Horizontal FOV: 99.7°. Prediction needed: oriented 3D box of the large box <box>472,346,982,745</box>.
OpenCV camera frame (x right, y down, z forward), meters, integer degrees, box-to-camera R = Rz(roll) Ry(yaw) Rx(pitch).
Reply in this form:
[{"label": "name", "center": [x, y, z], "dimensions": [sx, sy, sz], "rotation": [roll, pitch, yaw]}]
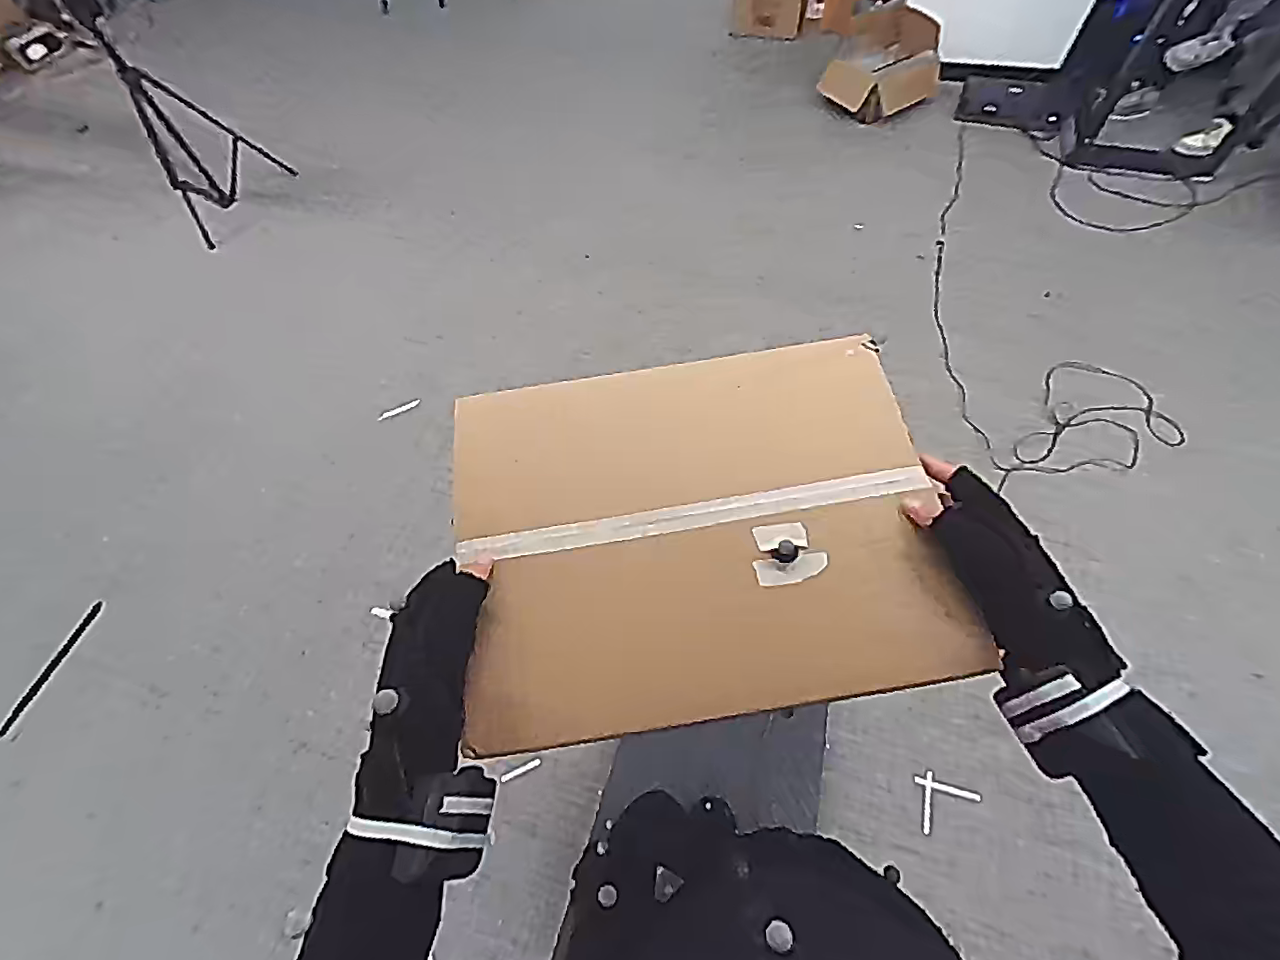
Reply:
[{"label": "large box", "center": [0.058, 0.095, 0.613], "dimensions": [0.408, 0.320, 0.320], "rotation": [-9, 66, -1]}]
